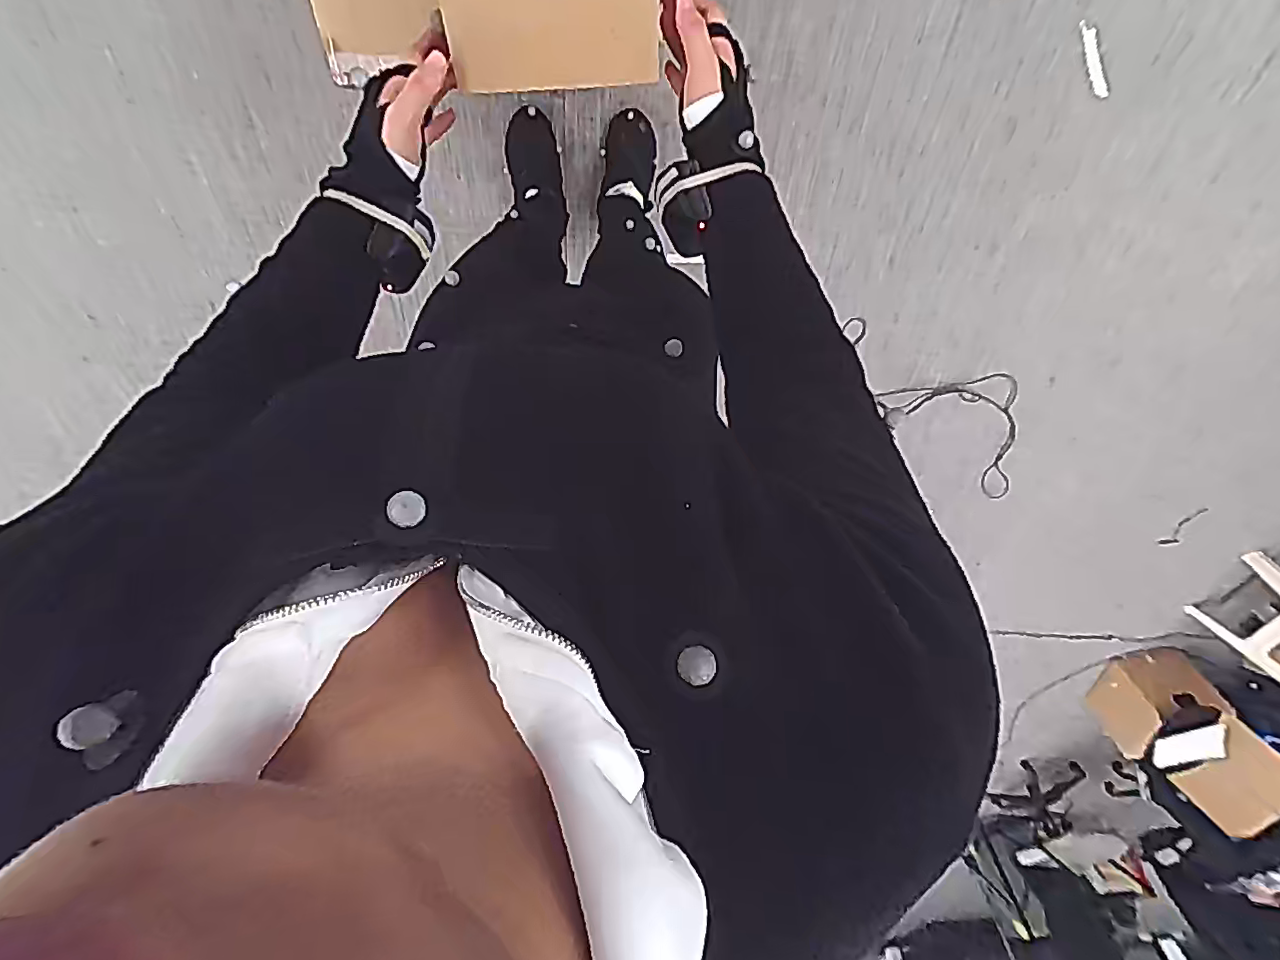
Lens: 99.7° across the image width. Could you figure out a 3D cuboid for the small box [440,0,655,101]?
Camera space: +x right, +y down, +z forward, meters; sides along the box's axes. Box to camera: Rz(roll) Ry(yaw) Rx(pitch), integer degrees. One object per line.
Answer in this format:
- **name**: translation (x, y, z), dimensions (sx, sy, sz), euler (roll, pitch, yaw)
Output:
- **small box**: translation (-0.075, -0.436, 0.448), dimensions (0.168, 0.176, 0.179), euler (-5, 132, -2)
